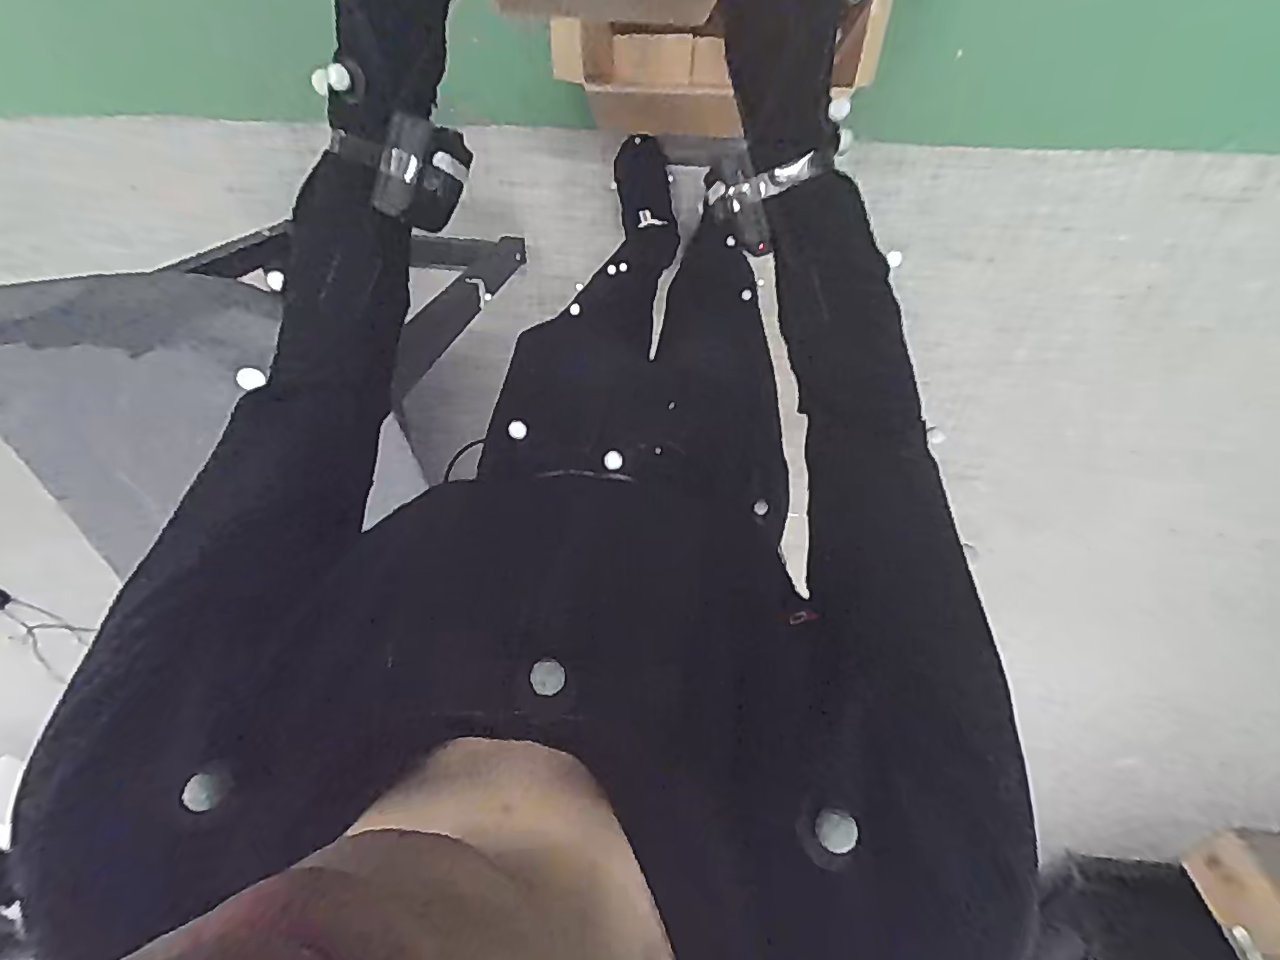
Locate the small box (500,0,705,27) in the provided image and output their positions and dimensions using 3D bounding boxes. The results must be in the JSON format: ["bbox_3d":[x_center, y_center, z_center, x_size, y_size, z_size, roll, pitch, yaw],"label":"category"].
[{"bbox_3d":[-0.024,-0.431,0.358,0.179,0.176,0.168,-2,116,-6],"label":"small box"}]
